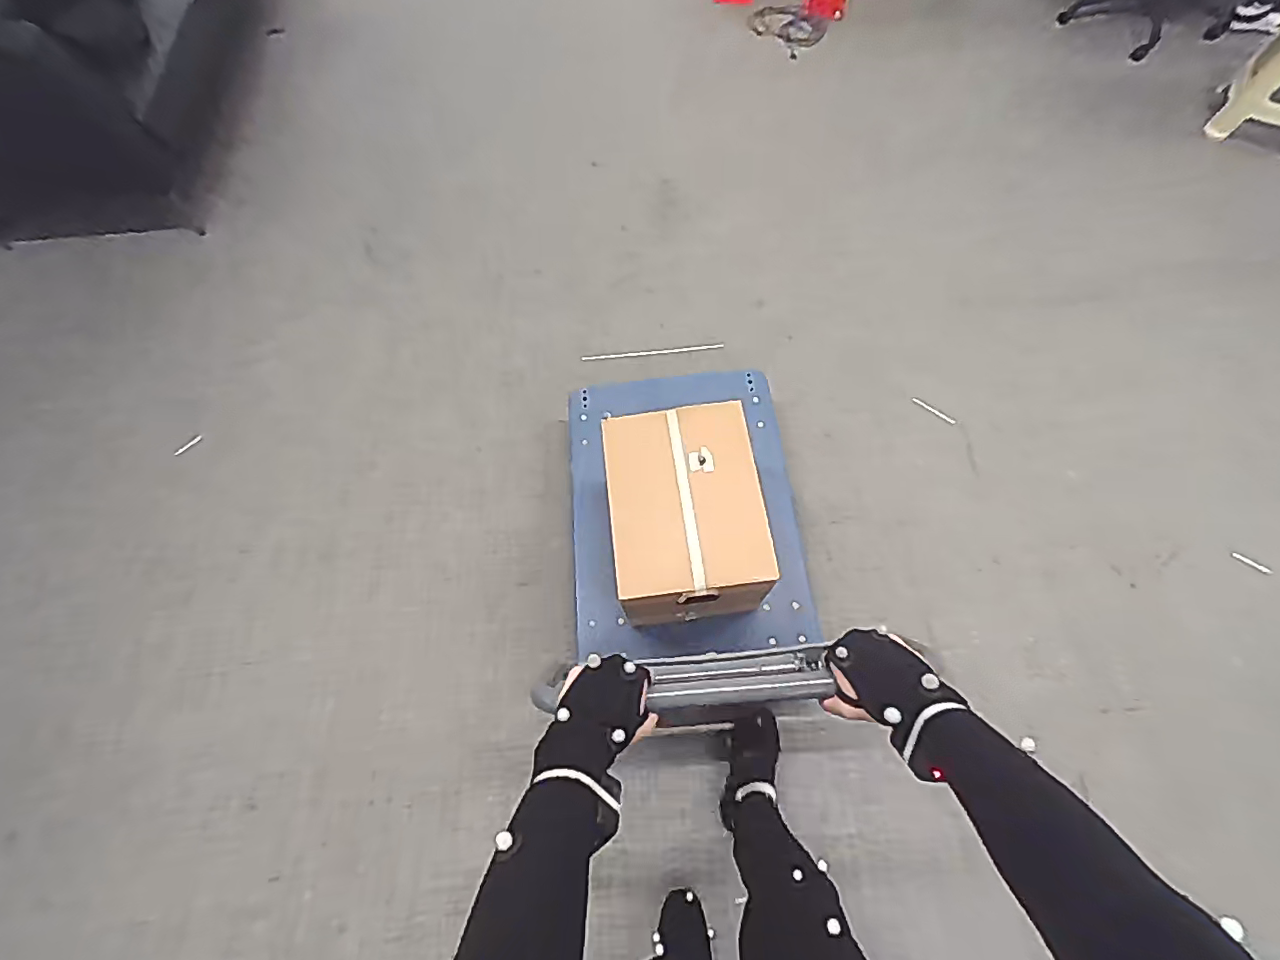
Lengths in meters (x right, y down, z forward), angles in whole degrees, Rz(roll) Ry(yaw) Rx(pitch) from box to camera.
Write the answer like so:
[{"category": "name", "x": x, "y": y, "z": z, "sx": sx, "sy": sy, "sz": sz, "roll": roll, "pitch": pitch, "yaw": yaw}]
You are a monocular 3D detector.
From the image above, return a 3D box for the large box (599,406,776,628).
[{"category": "large box", "x": 0.097, "y": 0.098, "z": 1.251, "sx": 0.320, "sy": 0.320, "sz": 0.408, "roll": -8, "pitch": 66, "yaw": 0}]
